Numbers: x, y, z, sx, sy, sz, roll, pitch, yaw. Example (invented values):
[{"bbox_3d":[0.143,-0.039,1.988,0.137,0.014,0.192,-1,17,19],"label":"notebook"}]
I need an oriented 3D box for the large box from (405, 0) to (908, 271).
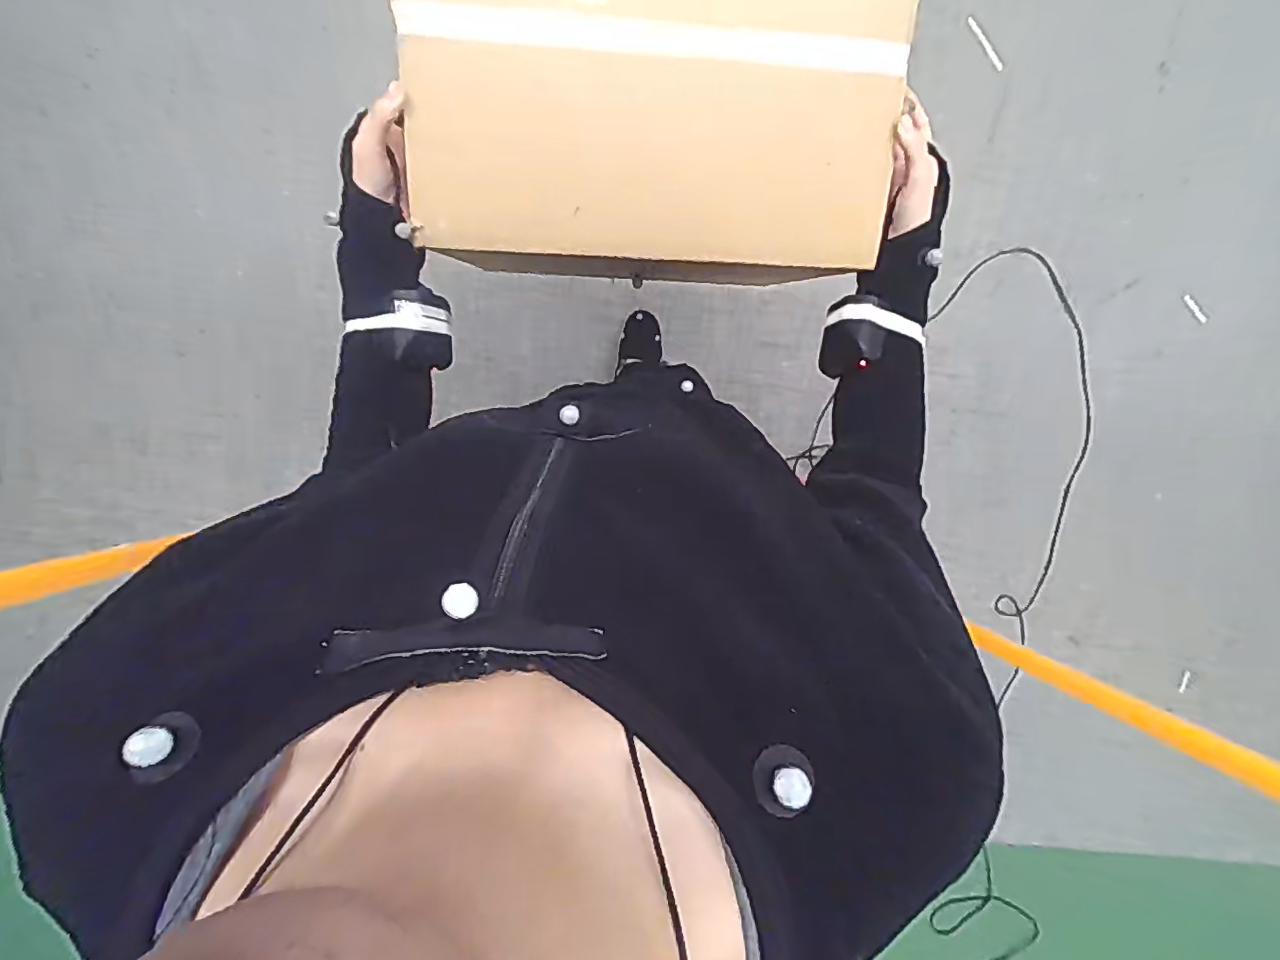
[{"bbox_3d":[0.008,-0.394,0.574,0.408,0.320,0.320,1,108,-5],"label":"large box"}]
